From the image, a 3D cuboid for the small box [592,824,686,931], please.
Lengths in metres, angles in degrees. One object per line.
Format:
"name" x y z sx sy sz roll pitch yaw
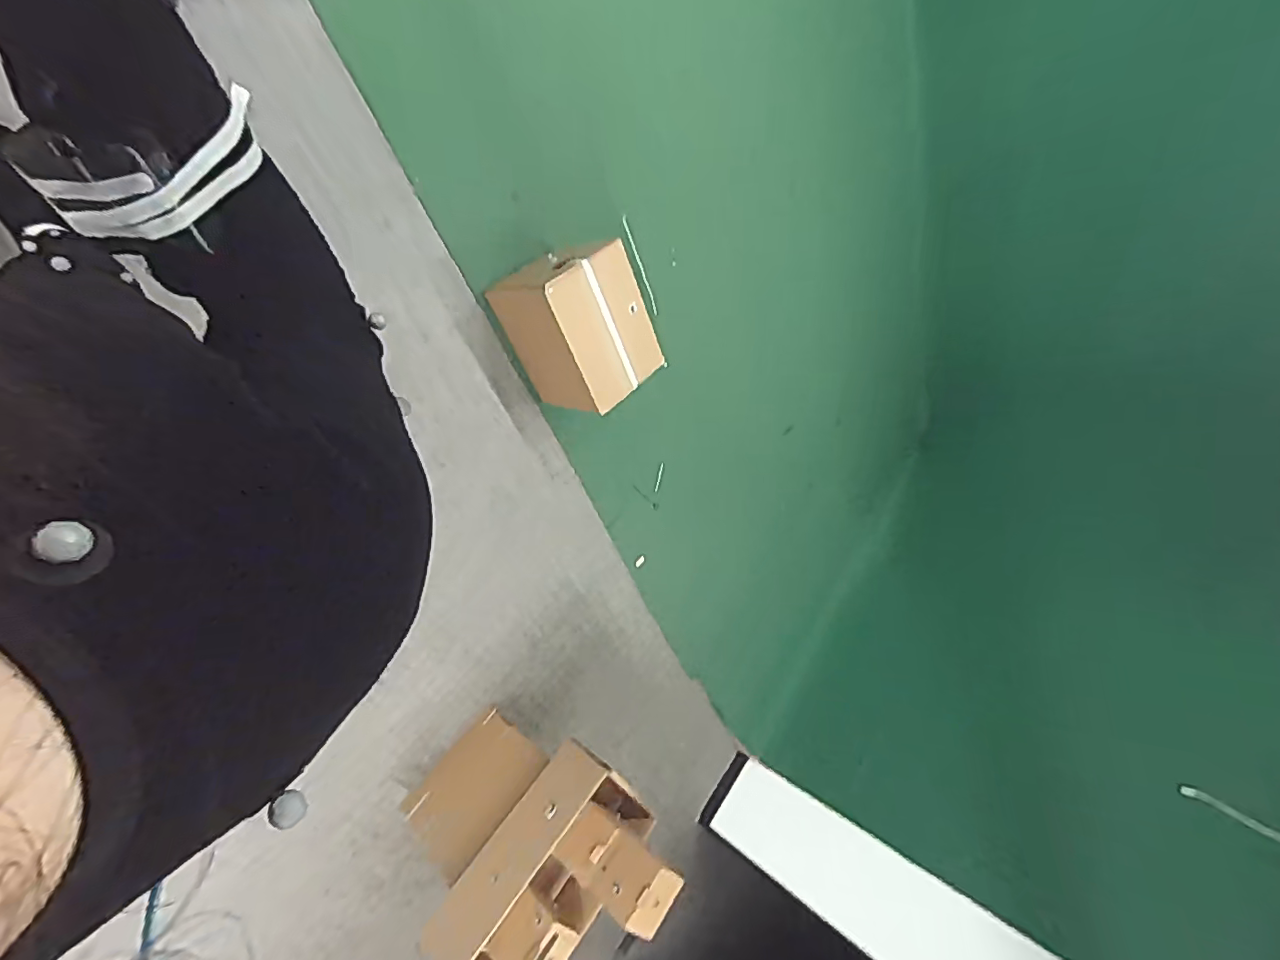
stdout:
"small box" -0.005 1.115 1.526 0.168 0.176 0.179 -48 132 -22
